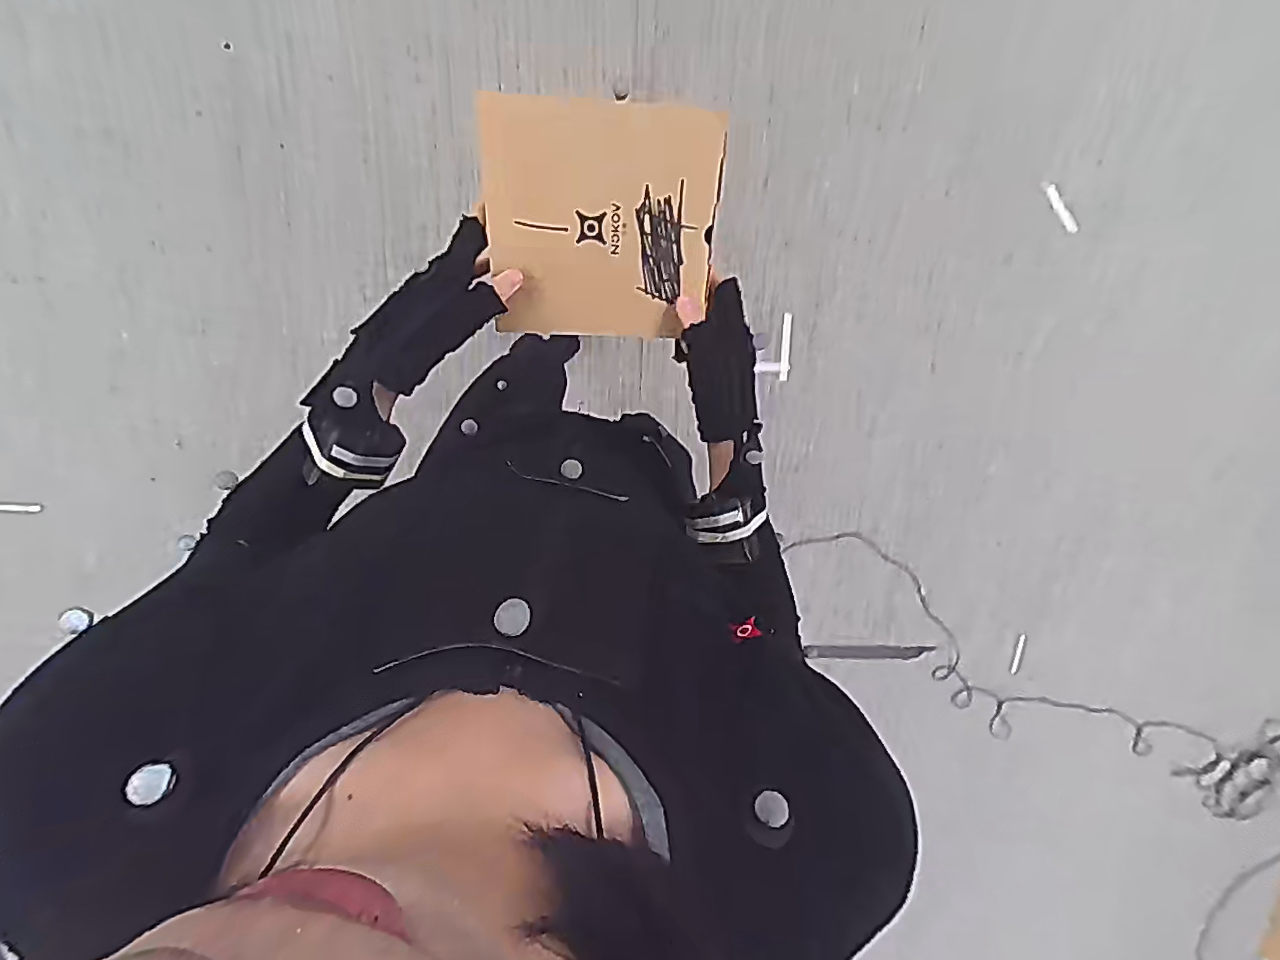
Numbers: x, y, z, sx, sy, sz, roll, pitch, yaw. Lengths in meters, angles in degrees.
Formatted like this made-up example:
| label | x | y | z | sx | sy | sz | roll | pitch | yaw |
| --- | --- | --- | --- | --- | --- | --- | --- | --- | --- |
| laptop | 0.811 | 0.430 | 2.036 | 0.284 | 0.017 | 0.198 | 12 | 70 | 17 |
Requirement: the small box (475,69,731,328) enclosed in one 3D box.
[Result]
| label | x | y | z | sx | sy | sz | roll | pitch | yaw |
| --- | --- | --- | --- | --- | --- | --- | --- | --- | --- |
| small box | -0.034 | -0.240 | 0.470 | 0.179 | 0.176 | 0.168 | 1 | 122 | -5 |
